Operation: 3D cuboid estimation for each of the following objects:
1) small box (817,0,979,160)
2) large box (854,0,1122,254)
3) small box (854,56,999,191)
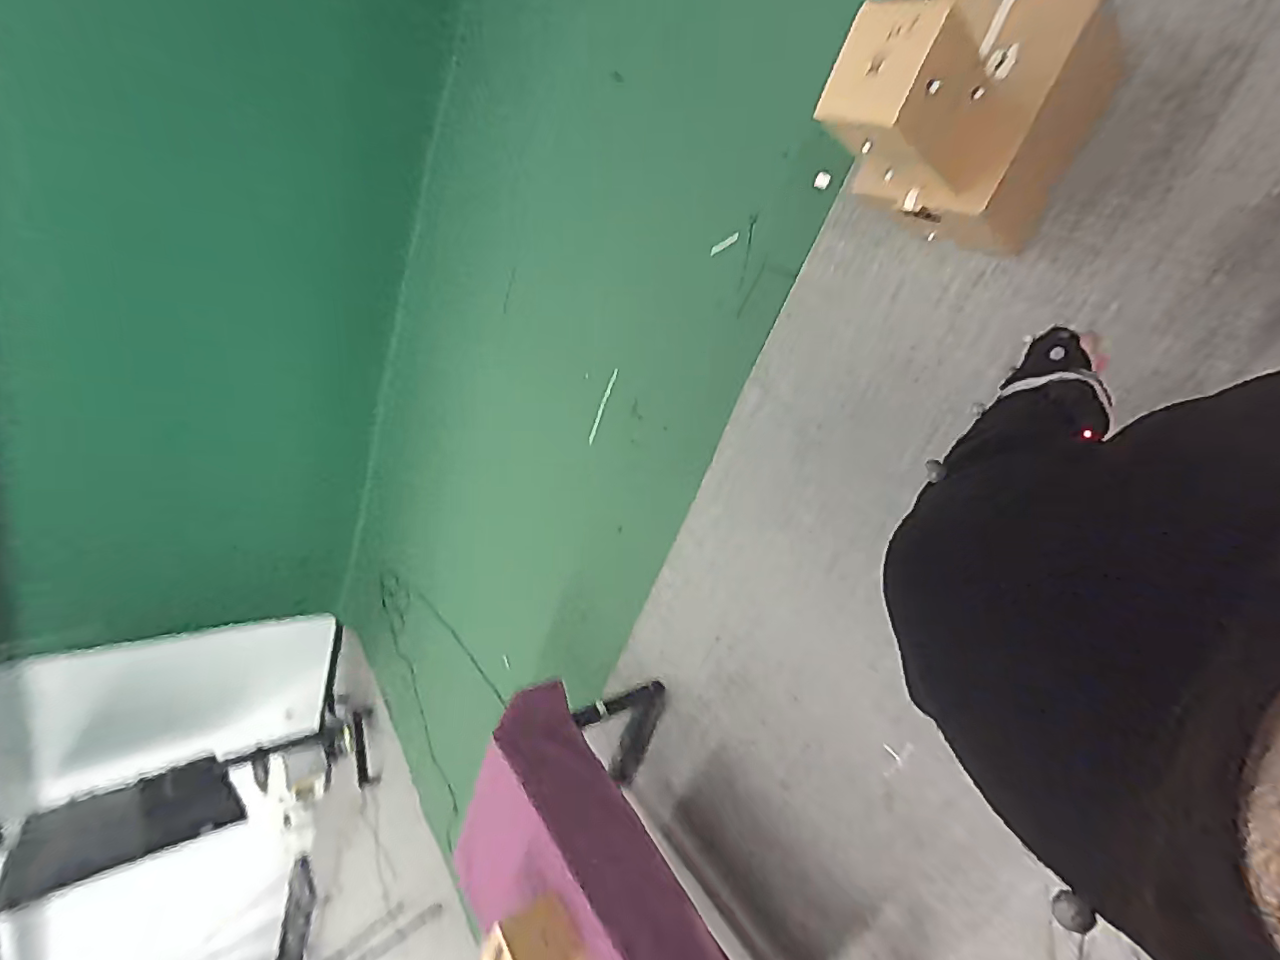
[{"bbox_3d":[0.454,-0.693,0.945,0.168,0.176,0.179,42,118,36],"label":"small box"},{"bbox_3d":[0.765,-0.781,1.211,0.320,0.320,0.408,40,117,38],"label":"large box"},{"bbox_3d":[0.567,-0.699,1.065,0.168,0.176,0.179,42,118,37],"label":"small box"}]
